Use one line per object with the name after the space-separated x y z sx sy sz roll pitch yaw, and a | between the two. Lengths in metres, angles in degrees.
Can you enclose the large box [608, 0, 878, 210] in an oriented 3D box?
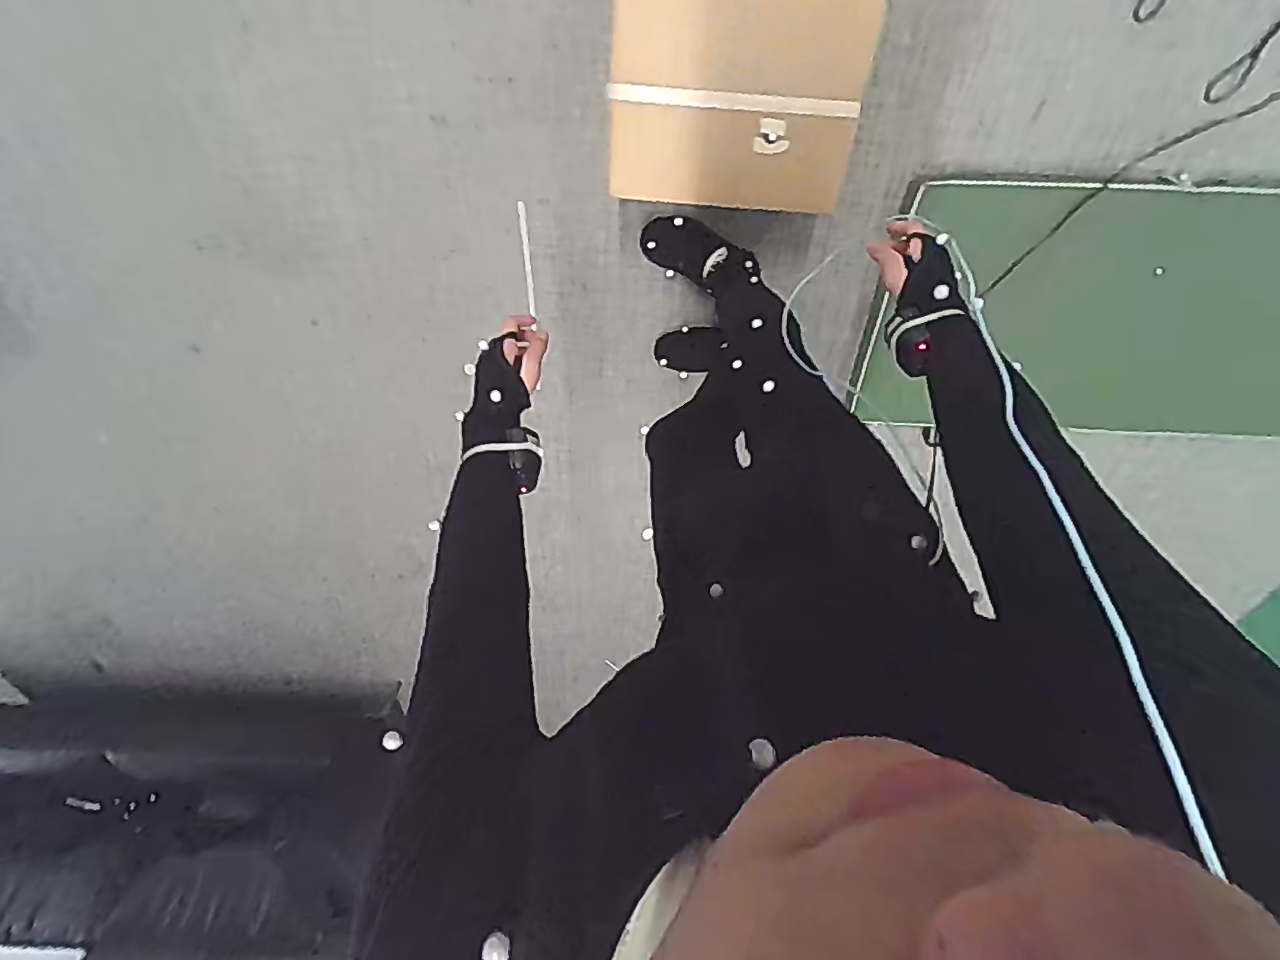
0.148 -0.701 0.993 0.408 0.320 0.320 3 127 -2 | large box
